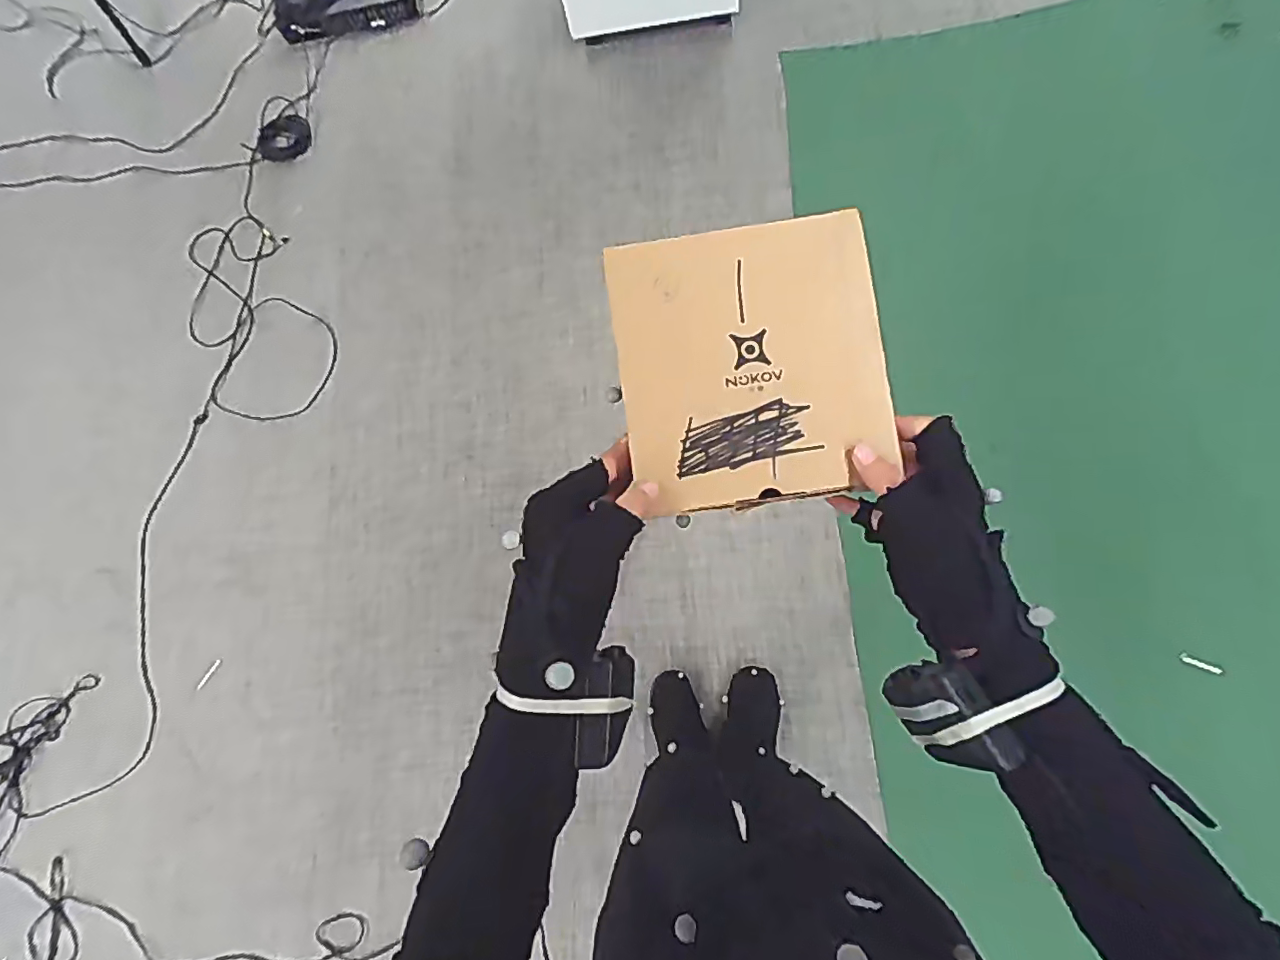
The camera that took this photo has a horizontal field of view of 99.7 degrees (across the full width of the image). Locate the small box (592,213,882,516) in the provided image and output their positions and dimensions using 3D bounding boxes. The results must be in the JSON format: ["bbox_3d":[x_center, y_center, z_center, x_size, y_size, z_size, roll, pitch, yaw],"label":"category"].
[{"bbox_3d":[0.064,-0.070,0.420,0.168,0.176,0.179,-8,87,2],"label":"small box"}]
